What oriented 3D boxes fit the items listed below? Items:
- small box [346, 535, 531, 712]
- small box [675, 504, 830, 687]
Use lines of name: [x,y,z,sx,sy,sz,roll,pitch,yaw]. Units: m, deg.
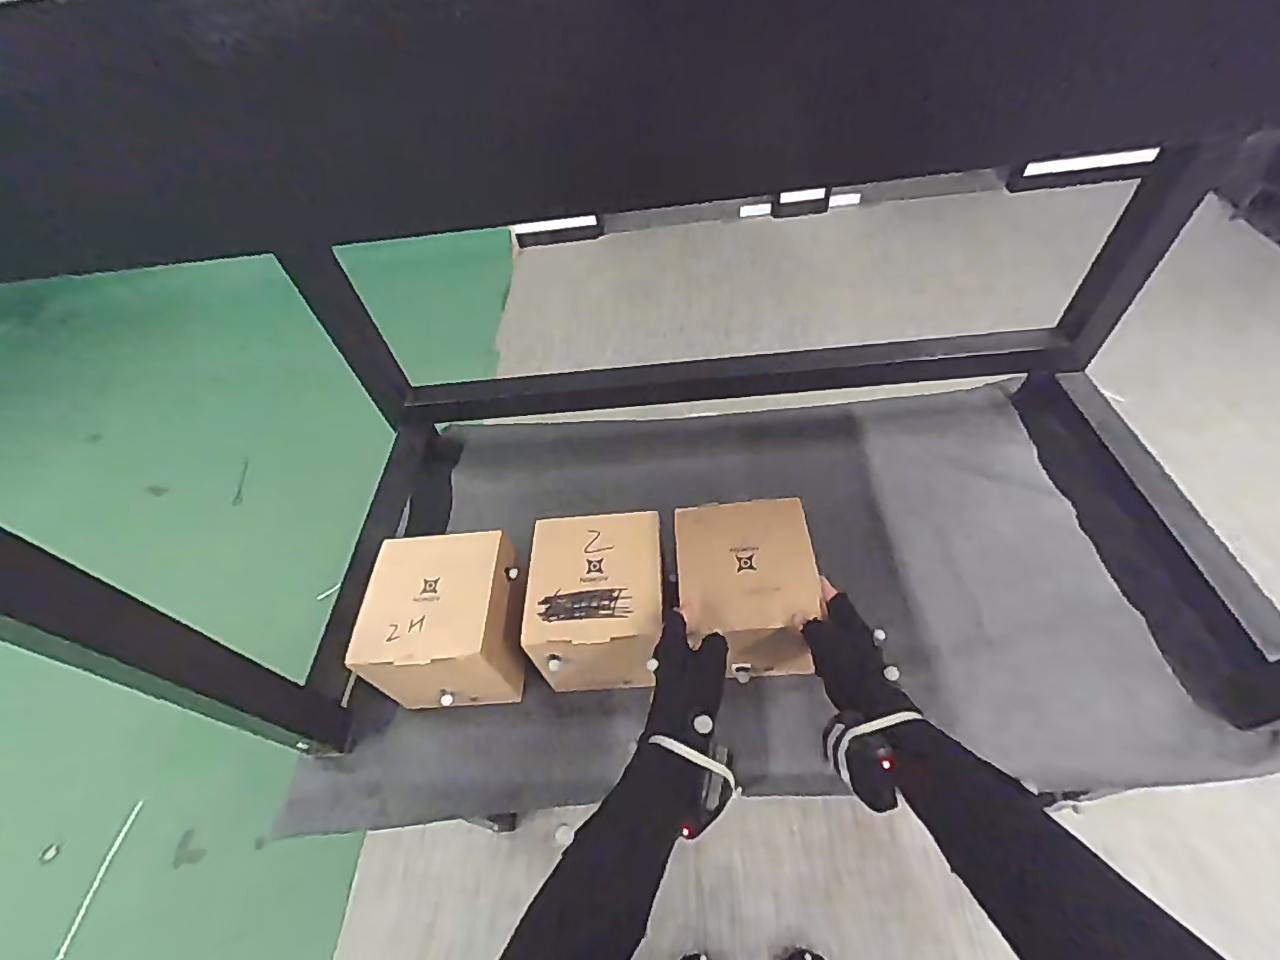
small box: [-0.253,0.196,0.732,0.168,0.176,0.179,-5,50,4]
small box: [0.137,0.155,0.714,0.168,0.176,0.179,-7,52,5]
